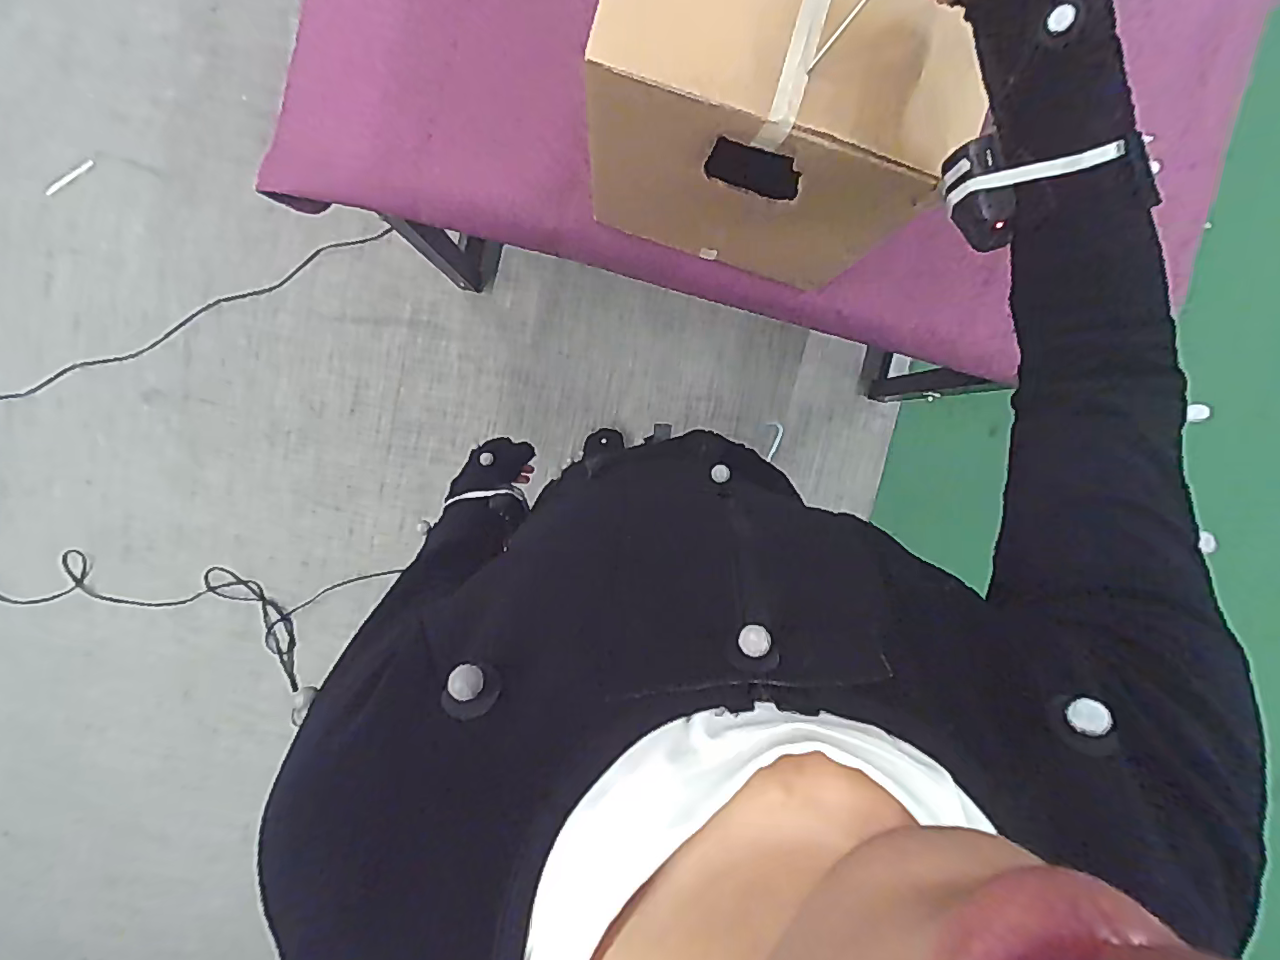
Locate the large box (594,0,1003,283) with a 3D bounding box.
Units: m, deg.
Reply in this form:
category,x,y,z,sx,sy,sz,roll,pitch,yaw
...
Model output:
category,x,y,z,sx,sy,sz,roll,pitch,yaw
large box,0.151,-0.484,0.570,0.320,0.320,0.408,16,94,-4
